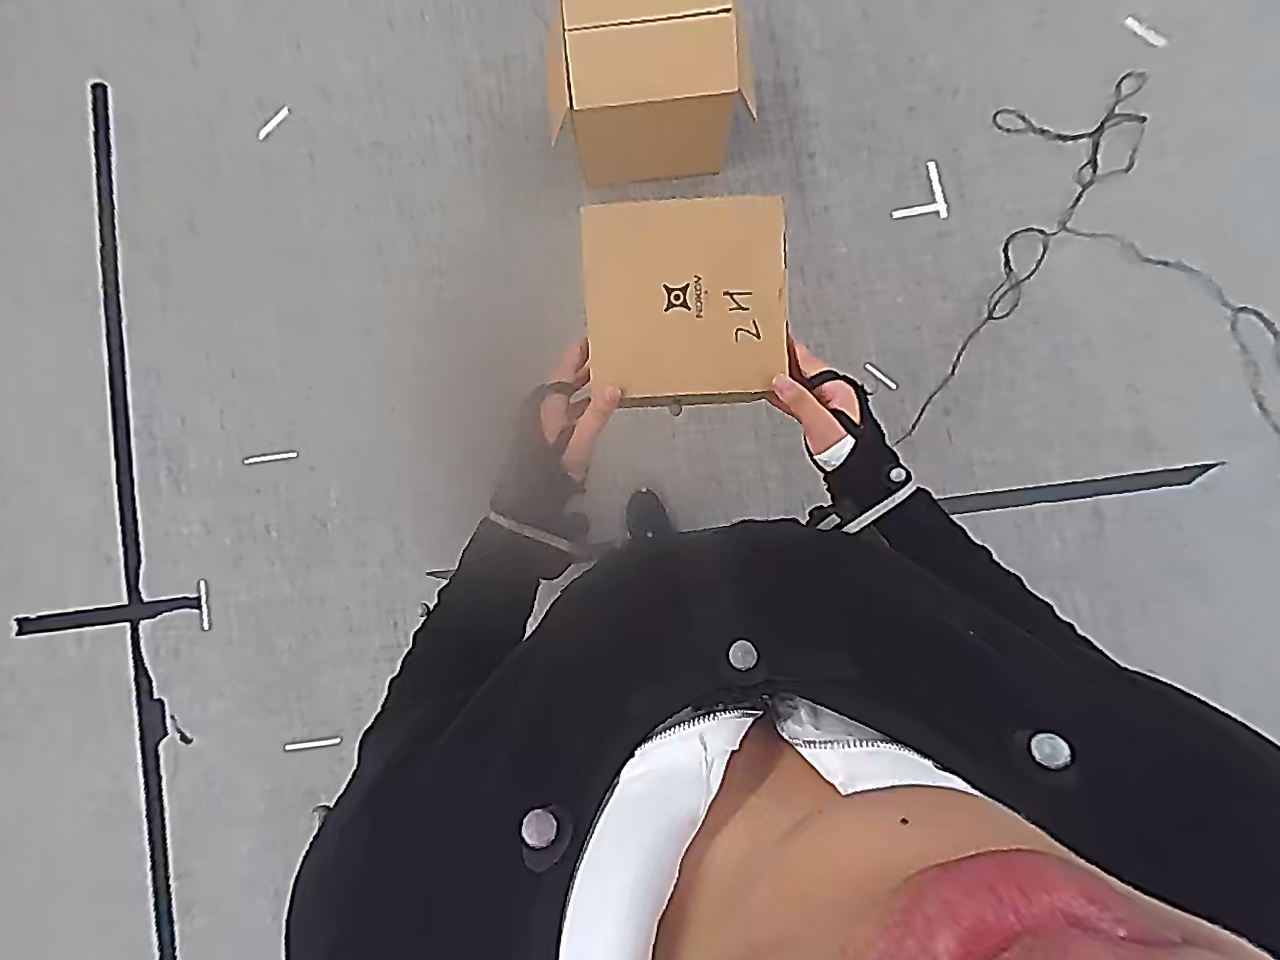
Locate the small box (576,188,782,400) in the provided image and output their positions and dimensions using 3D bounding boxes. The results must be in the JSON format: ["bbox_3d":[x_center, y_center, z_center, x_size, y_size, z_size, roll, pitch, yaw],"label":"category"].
[{"bbox_3d":[0.035,-0.171,0.547,0.179,0.176,0.168,-3,95,0],"label":"small box"}]
